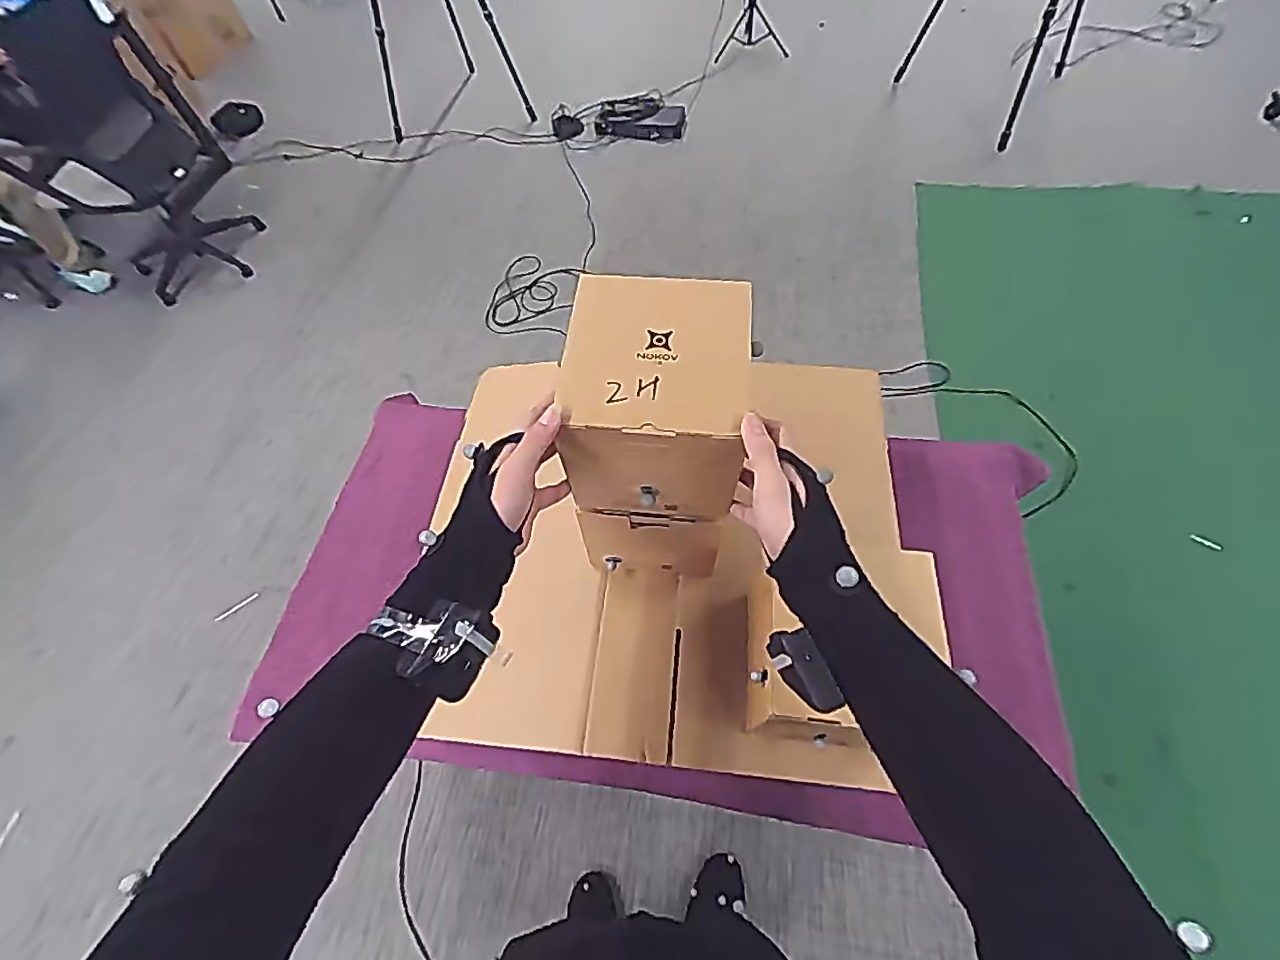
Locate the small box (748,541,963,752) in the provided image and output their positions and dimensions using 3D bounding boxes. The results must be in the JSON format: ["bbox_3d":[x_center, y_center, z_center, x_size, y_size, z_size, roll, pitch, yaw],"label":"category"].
[{"bbox_3d":[0.210,0.184,0.583,0.168,0.176,0.179,4,61,5],"label":"small box"}]

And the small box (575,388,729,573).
[{"bbox_3d":[0.021,0.007,0.689,0.168,0.176,0.179,5,60,4],"label":"small box"}]
